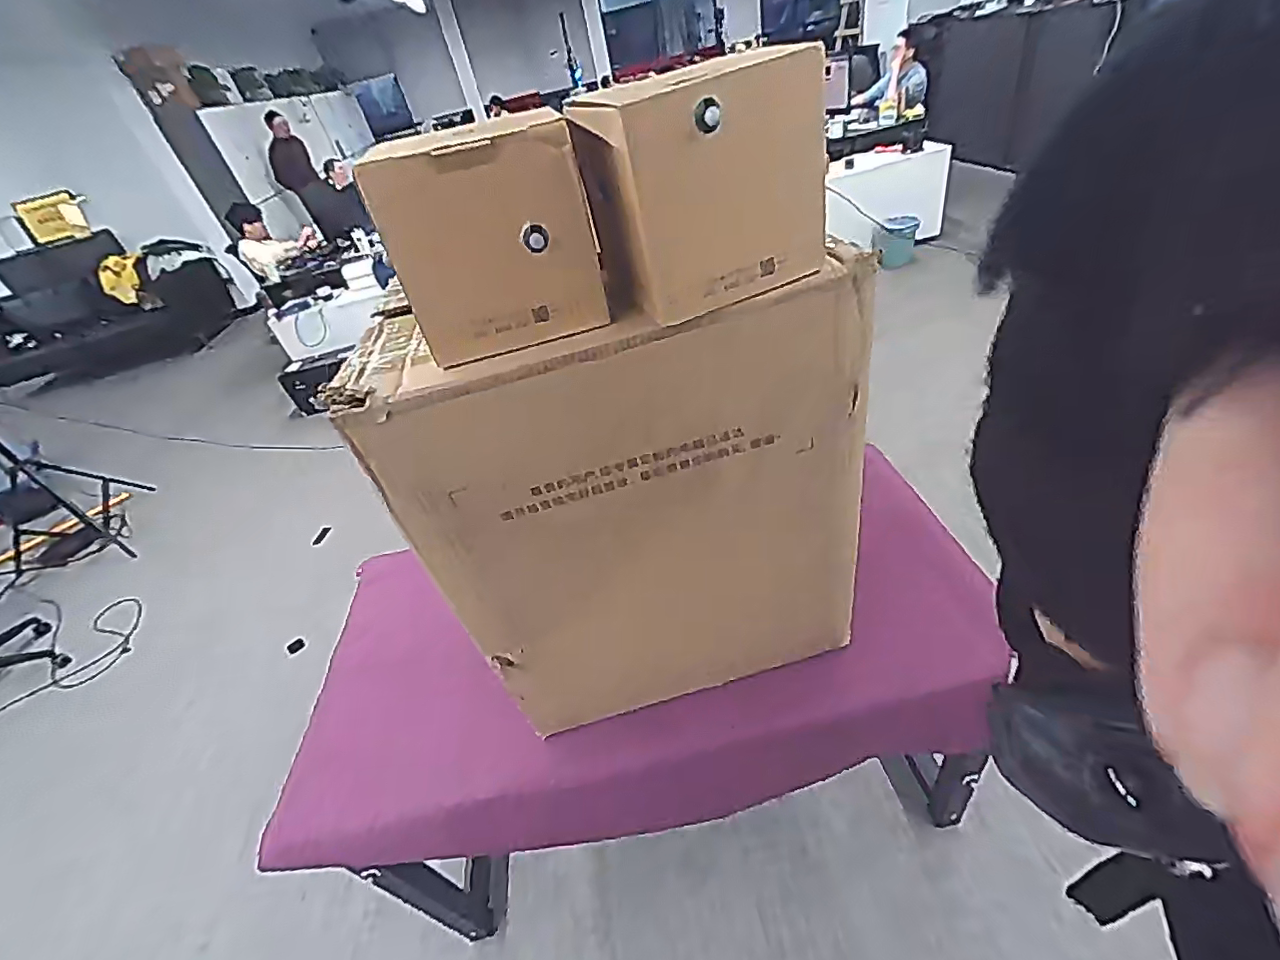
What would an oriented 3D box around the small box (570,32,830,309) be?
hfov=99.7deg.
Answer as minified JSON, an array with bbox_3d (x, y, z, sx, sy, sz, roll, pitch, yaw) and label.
[{"bbox_3d":[0.052,-0.275,0.495,0.168,0.176,0.179,-22,38,-8],"label":"small box"}]

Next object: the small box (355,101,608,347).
[{"bbox_3d":[-0.135,-0.240,0.513,0.168,0.176,0.179,-15,37,-5],"label":"small box"}]
